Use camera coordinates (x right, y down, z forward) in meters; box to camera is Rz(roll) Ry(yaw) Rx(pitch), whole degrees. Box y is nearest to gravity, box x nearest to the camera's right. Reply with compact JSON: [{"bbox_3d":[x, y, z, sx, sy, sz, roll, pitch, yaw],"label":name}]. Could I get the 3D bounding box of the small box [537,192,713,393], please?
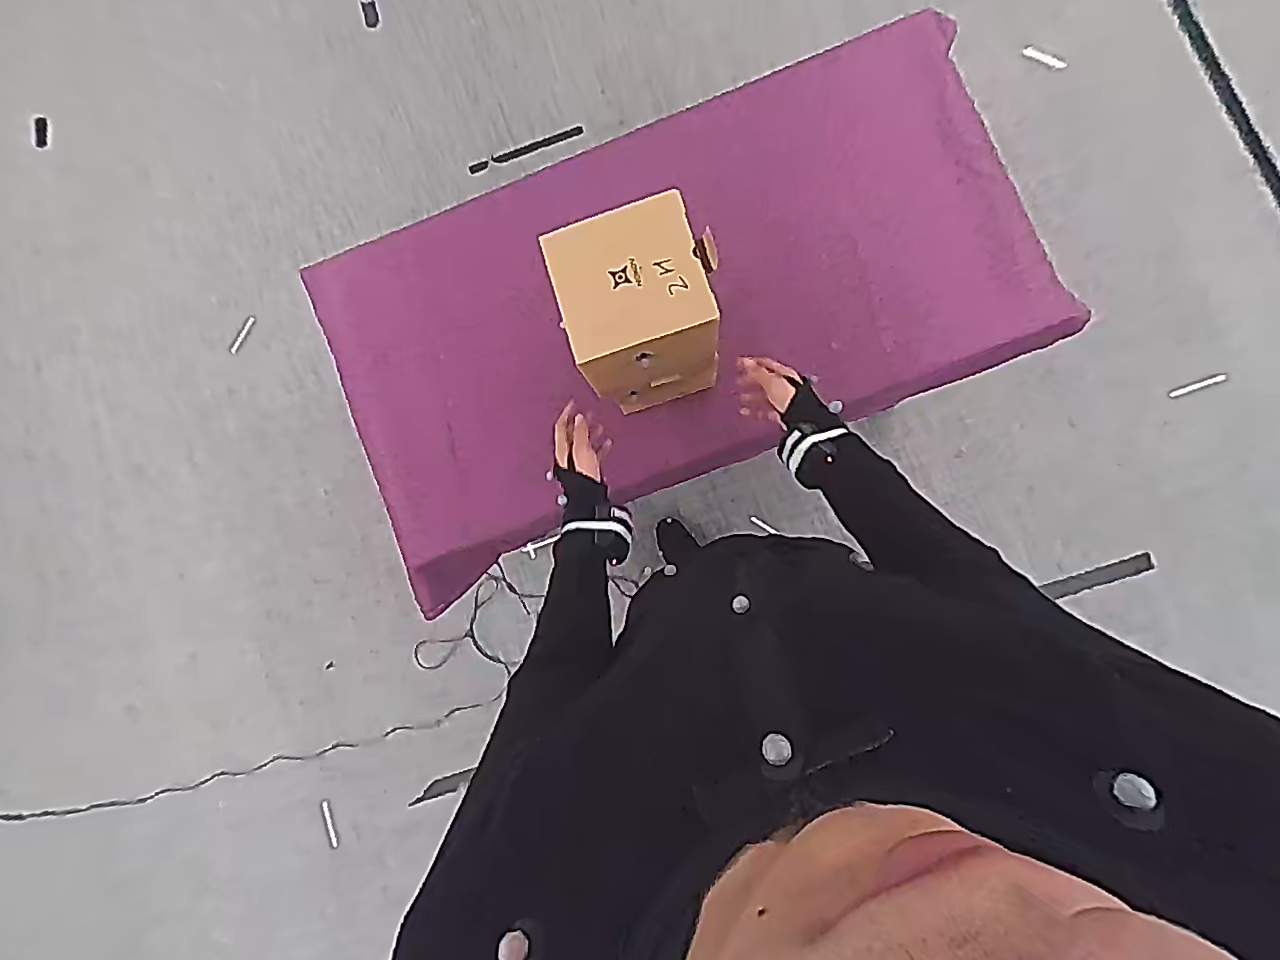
[{"bbox_3d":[-0.011,-0.227,0.705,0.179,0.176,0.168,-17,84,3],"label":"small box"}]
